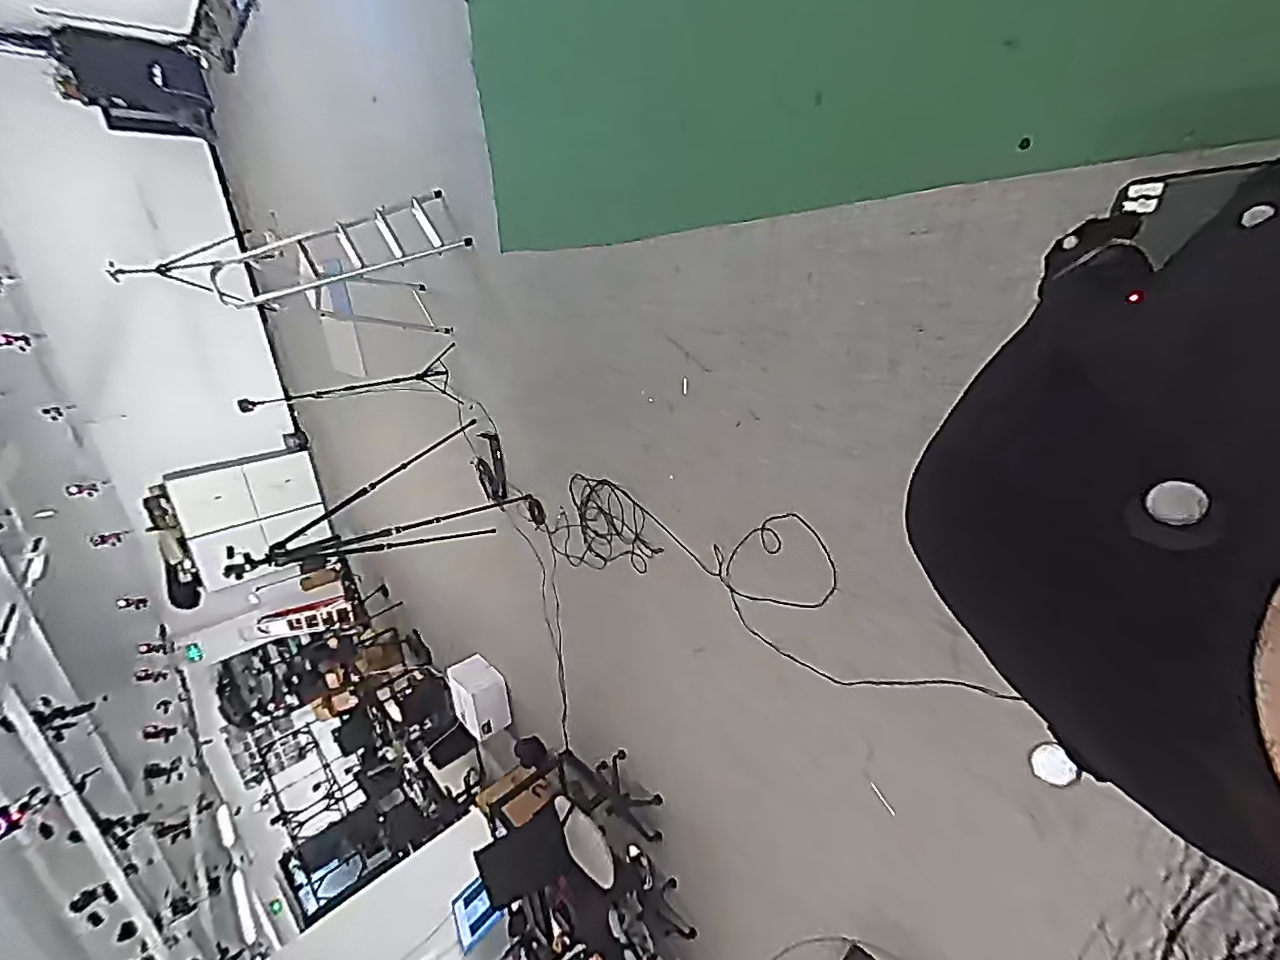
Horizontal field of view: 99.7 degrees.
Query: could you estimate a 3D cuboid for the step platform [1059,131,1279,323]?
[{"bbox_3d":[1.081,-0.397,0.816,0.684,0.204,0.286,17,119,45],"label":"step platform"}]
